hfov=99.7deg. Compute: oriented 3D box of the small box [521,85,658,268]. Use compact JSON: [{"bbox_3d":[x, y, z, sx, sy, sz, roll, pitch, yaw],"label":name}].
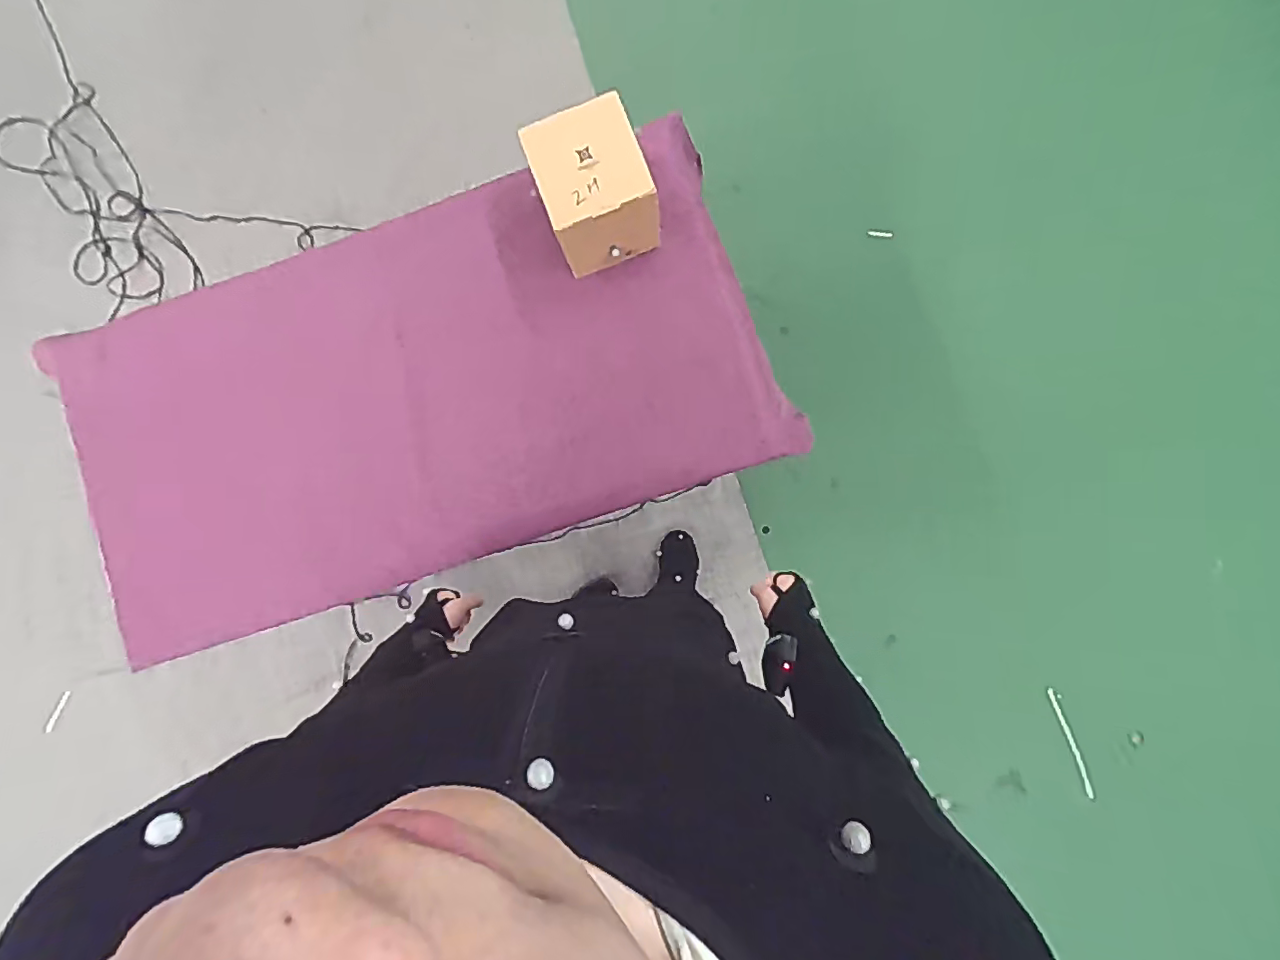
[{"bbox_3d":[-0.075,-0.489,0.898,0.168,0.176,0.179,-20,86,4],"label":"small box"}]
